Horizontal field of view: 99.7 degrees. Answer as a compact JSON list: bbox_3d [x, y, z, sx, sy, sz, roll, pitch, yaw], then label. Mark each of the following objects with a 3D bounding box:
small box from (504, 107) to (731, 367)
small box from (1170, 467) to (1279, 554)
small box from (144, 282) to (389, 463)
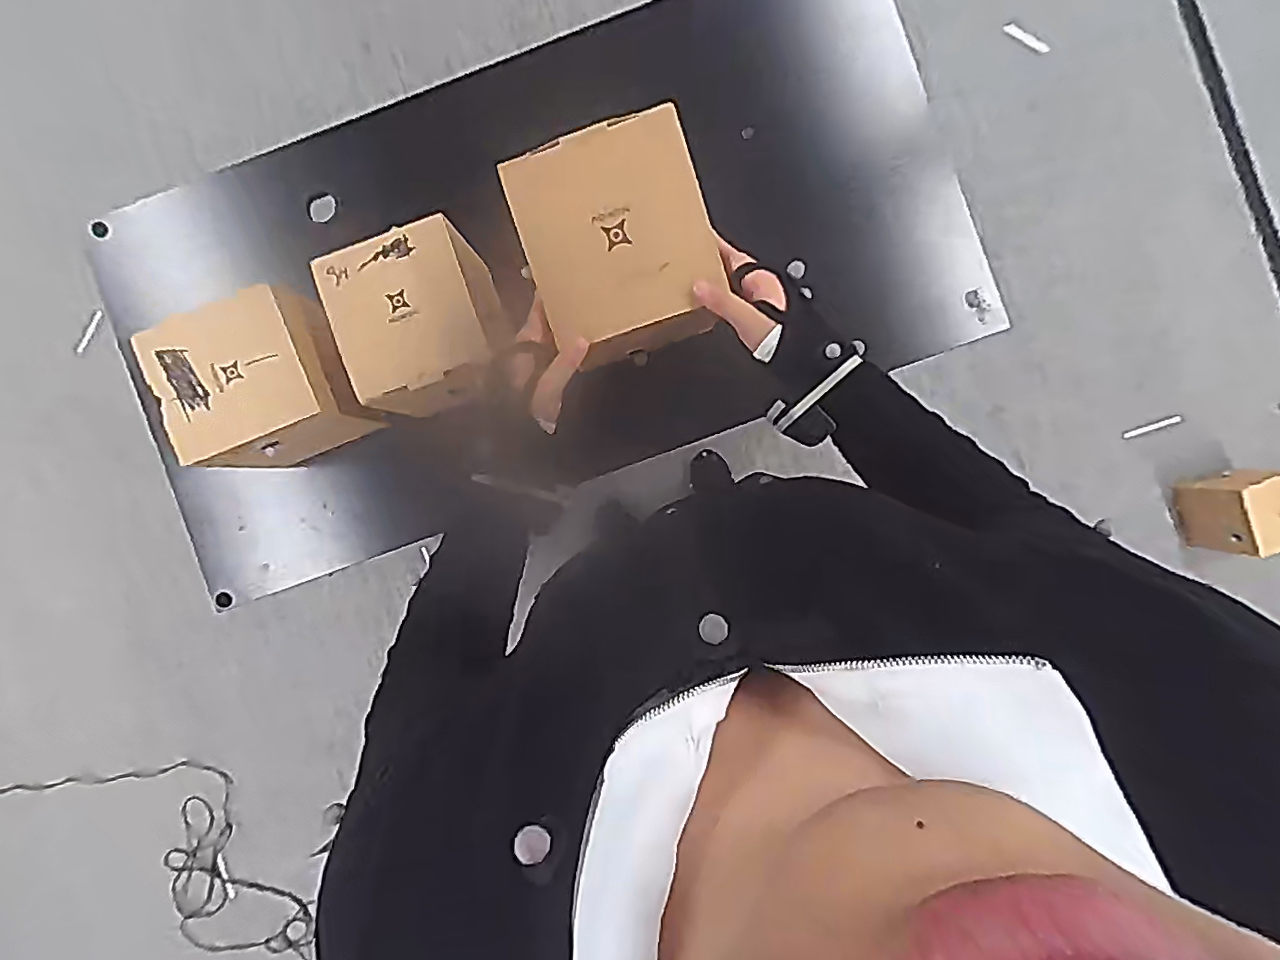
[{"bbox_3d":[-0.018,-0.231,0.565,0.168,0.176,0.179,-19,96,4],"label":"small box"},{"bbox_3d":[1.526,0.070,1.376,0.168,0.176,0.179,-18,90,2],"label":"small box"},{"bbox_3d":[-0.472,-0.125,0.711,0.179,0.176,0.168,-22,90,1],"label":"small box"}]
